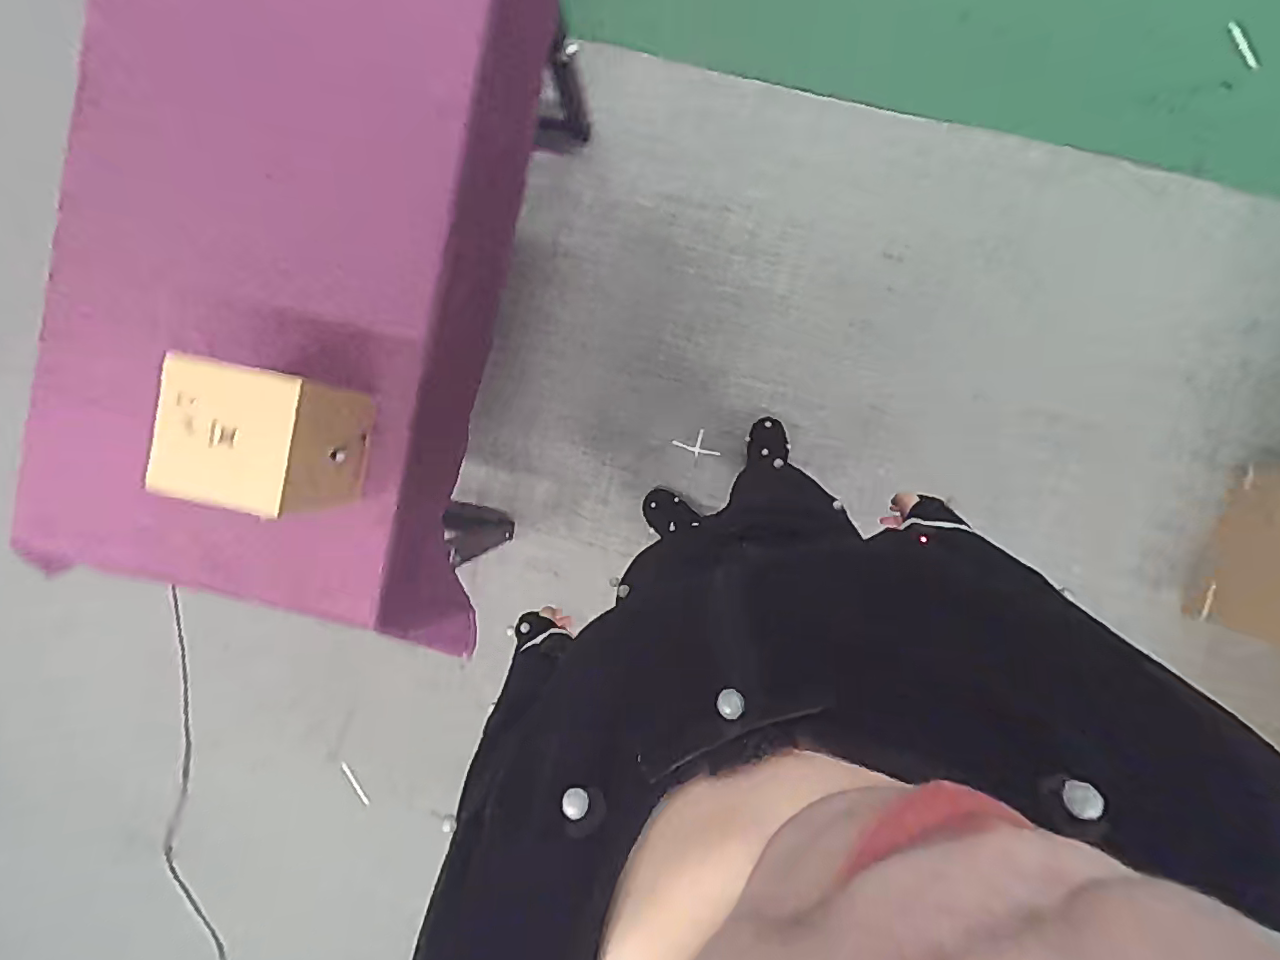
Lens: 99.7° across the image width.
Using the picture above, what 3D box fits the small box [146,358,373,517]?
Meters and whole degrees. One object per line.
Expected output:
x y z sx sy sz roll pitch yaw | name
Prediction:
-0.492 -0.054 0.725 0.179 0.176 0.168 11 92 4 | small box
